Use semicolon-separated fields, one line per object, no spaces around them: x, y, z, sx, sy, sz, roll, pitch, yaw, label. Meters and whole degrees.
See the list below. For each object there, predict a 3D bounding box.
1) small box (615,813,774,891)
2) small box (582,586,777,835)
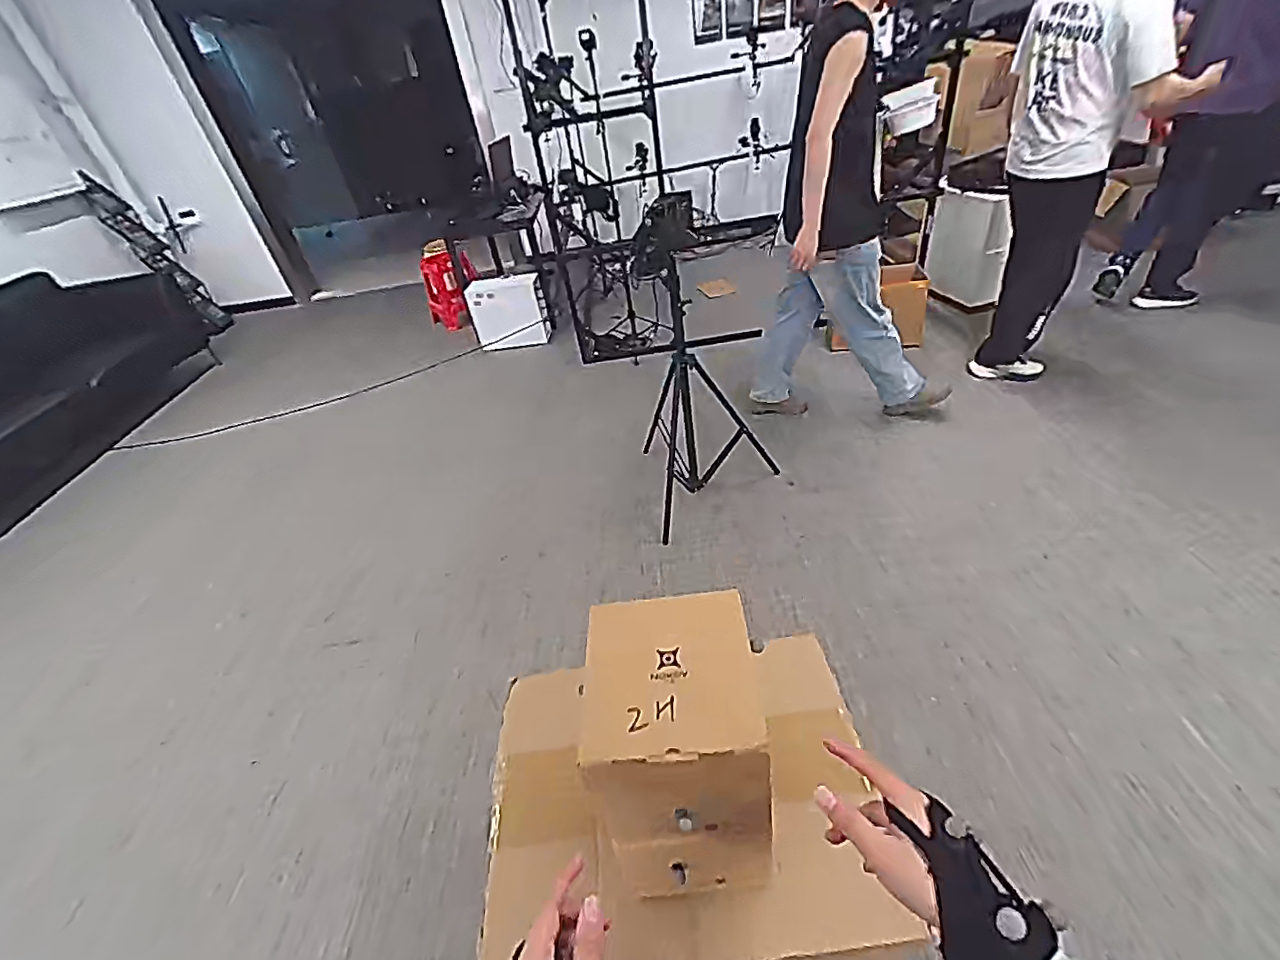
0.064;0.371;0.657;0.168;0.176;0.179;-8;36;3;small box
0.043;0.237;0.563;0.168;0.176;0.179;-7;37;5;small box
